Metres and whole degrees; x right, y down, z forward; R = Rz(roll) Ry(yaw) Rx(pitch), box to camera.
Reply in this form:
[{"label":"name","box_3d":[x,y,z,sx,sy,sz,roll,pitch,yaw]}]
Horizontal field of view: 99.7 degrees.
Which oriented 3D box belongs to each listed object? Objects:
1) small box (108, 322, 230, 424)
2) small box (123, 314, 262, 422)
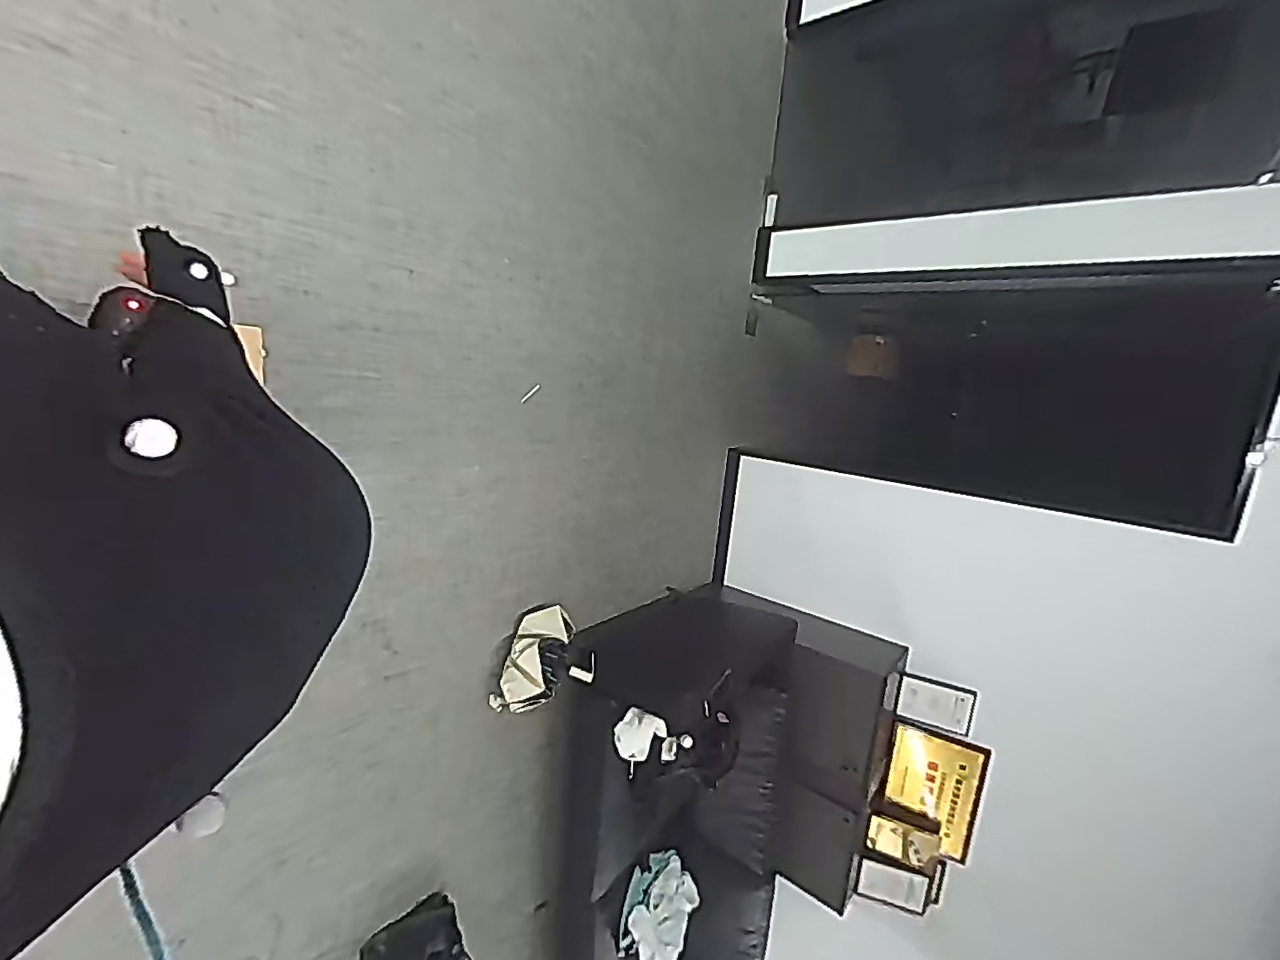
[{"label":"small box","box_3d":[-0.955,-0.218,1.104,0.168,0.176,0.179,-2,103,-53]},{"label":"small box","box_3d":[-0.827,-0.205,1.000,0.168,0.176,0.179,-7,107,-52]}]
